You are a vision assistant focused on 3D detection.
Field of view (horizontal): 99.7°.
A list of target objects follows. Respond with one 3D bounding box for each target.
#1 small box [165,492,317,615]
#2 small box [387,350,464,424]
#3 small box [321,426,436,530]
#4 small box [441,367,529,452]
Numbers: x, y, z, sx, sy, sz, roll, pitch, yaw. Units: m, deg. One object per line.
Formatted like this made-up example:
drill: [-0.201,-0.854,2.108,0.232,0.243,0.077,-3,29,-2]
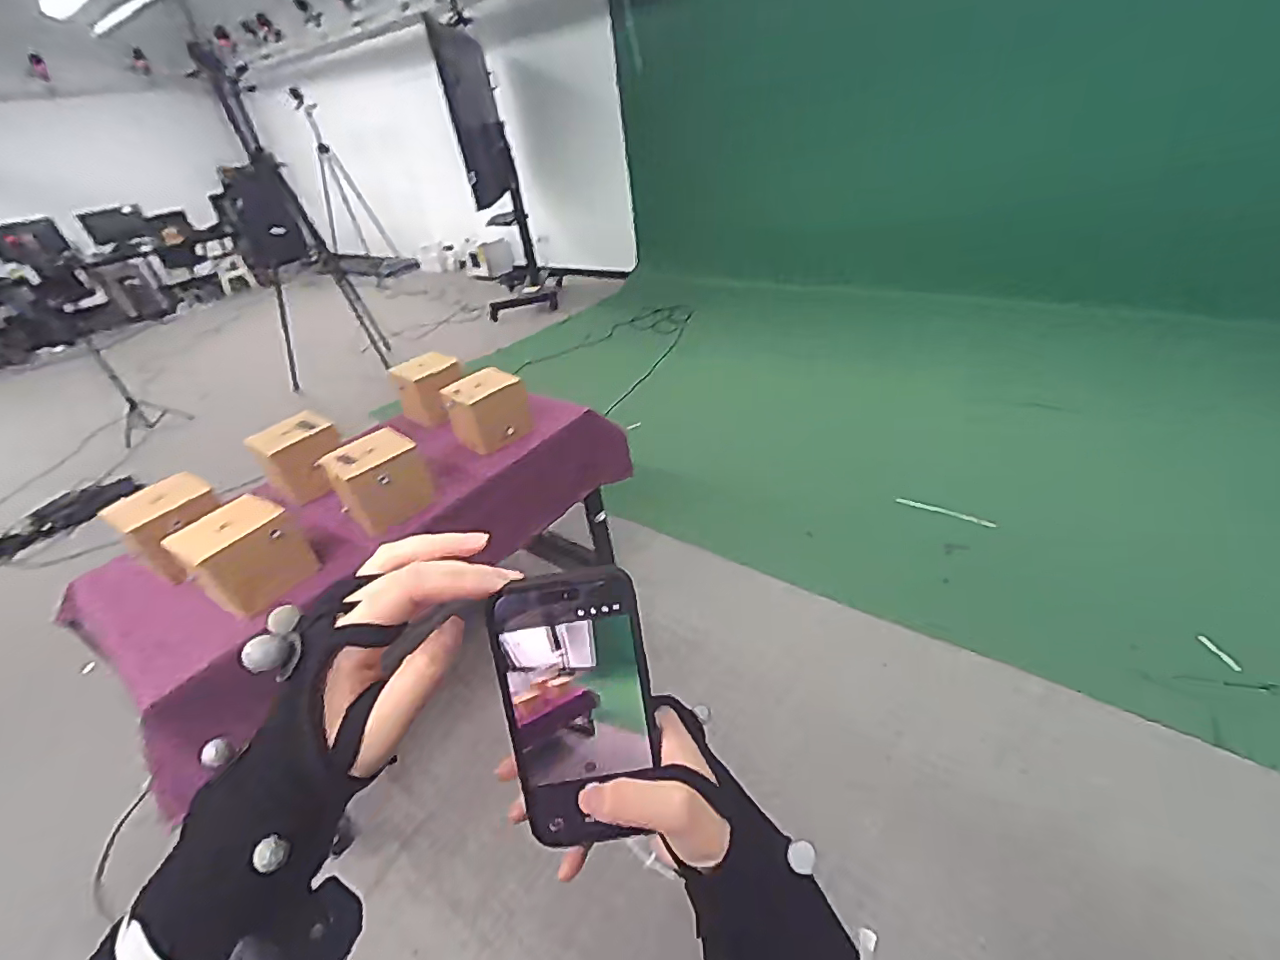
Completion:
small box: [-0.835,0.155,1.147,0.168,0.176,0.179,14,40,29]
small box: [-0.678,-0.302,1.752,0.179,0.176,0.168,23,46,35]
small box: [-0.635,-0.005,1.328,0.168,0.176,0.179,24,46,37]
small box: [-0.440,-0.206,1.571,0.168,0.176,0.179,25,47,38]
